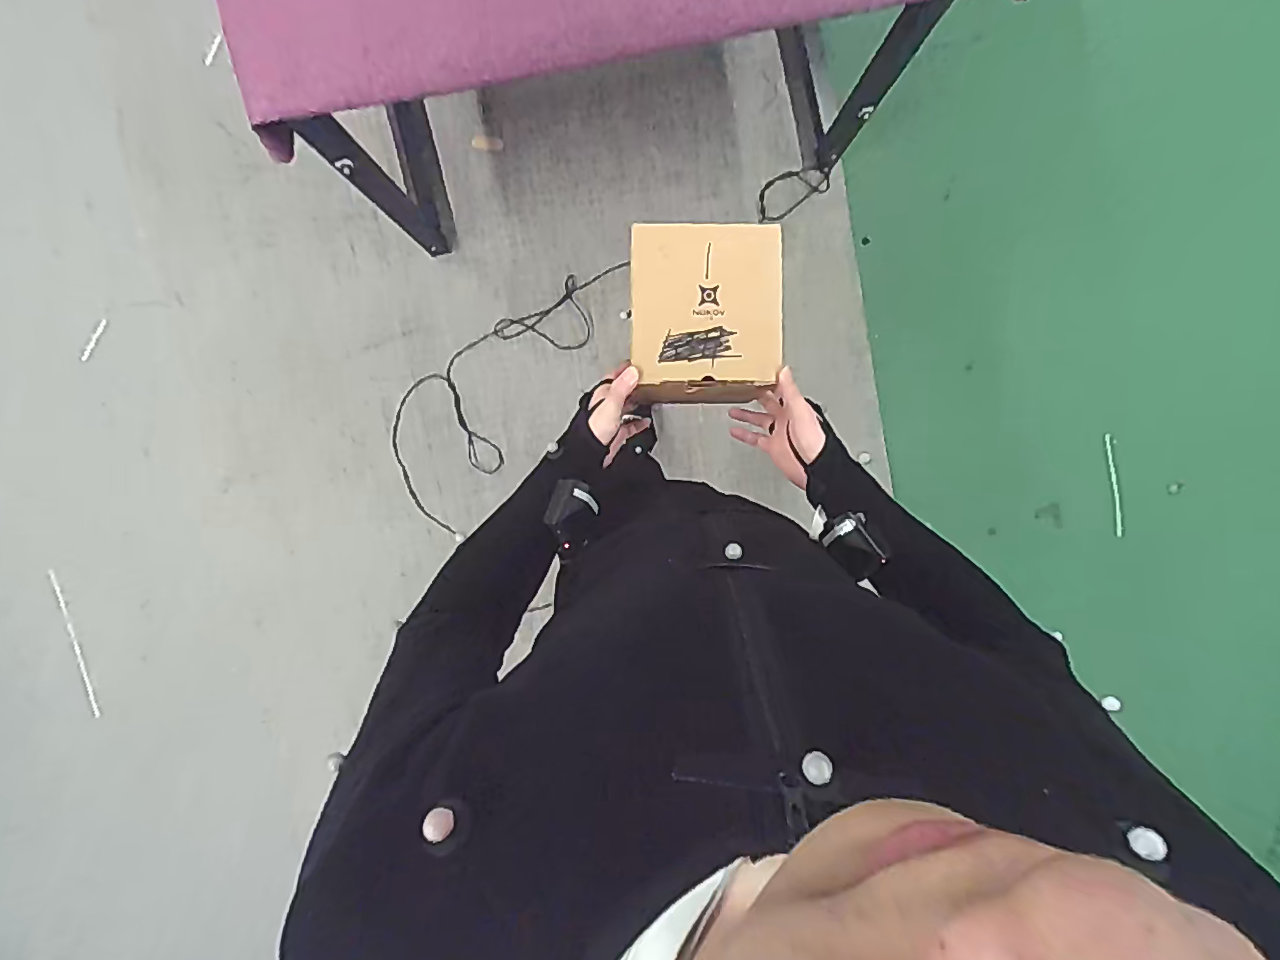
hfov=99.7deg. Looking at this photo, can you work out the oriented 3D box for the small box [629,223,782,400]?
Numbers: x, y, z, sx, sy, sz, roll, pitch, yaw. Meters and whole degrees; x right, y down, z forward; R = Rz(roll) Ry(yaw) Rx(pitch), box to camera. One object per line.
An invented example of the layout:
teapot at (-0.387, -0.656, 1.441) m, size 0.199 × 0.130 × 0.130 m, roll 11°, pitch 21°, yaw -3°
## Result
small box at (0.072, -0.194, 0.670) m, size 0.168 × 0.176 × 0.179 m, roll 0°, pitch 91°, yaw -3°
